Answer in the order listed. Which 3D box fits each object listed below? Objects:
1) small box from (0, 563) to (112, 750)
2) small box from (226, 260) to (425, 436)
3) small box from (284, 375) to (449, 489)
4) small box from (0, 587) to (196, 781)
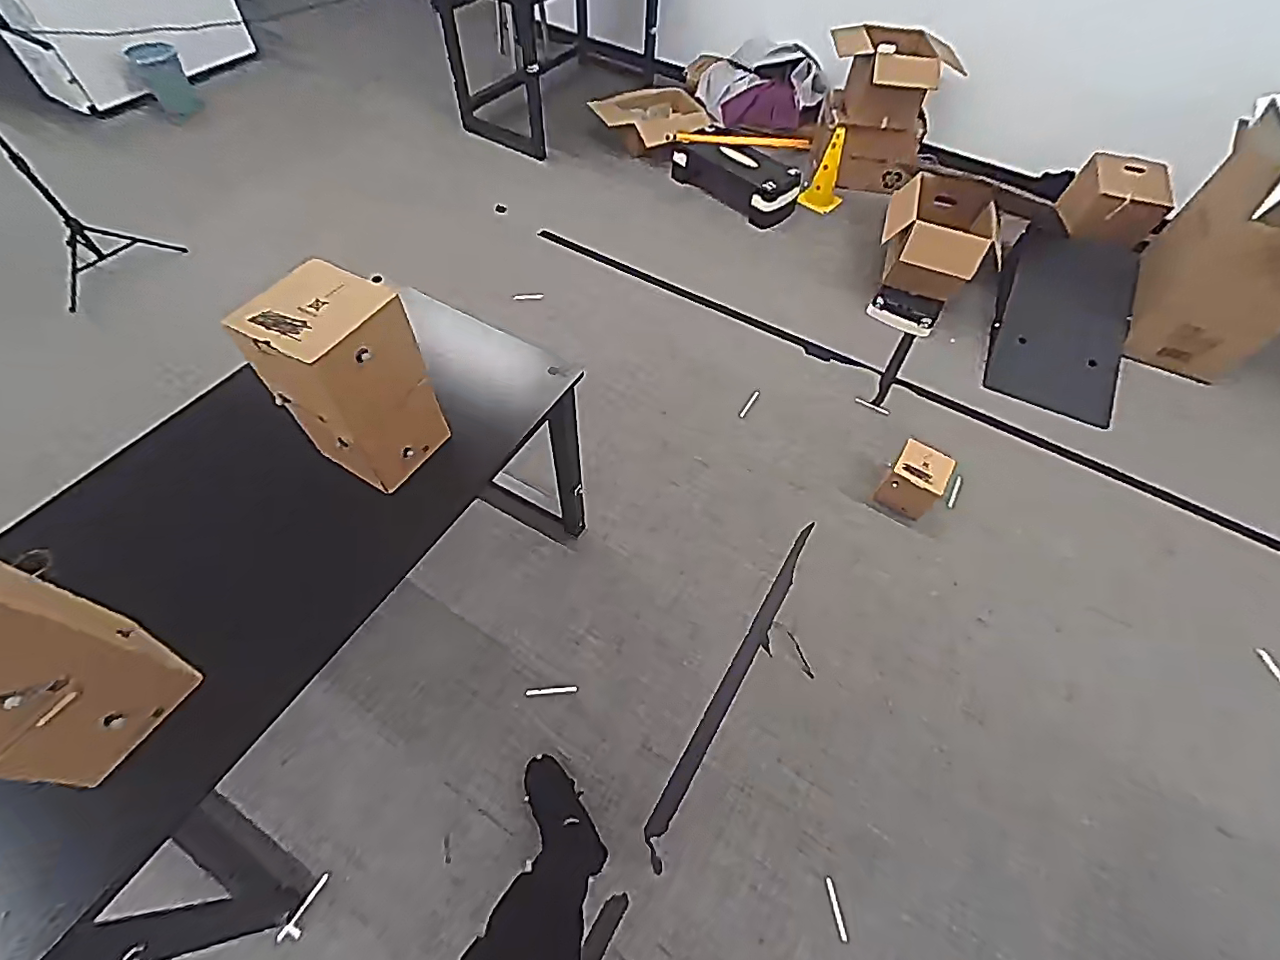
[{"bbox_3d":[-0.742,0.176,0.569,0.179,0.176,0.168,27,60,14],"label":"small box"},{"bbox_3d":[-0.465,-0.199,0.834,0.168,0.176,0.179,25,58,12],"label":"small box"},{"bbox_3d":[-0.479,-0.111,0.973,0.179,0.176,0.168,28,59,14],"label":"small box"},{"bbox_3d":[-0.749,0.268,0.706,0.179,0.176,0.168,27,59,13],"label":"small box"}]
